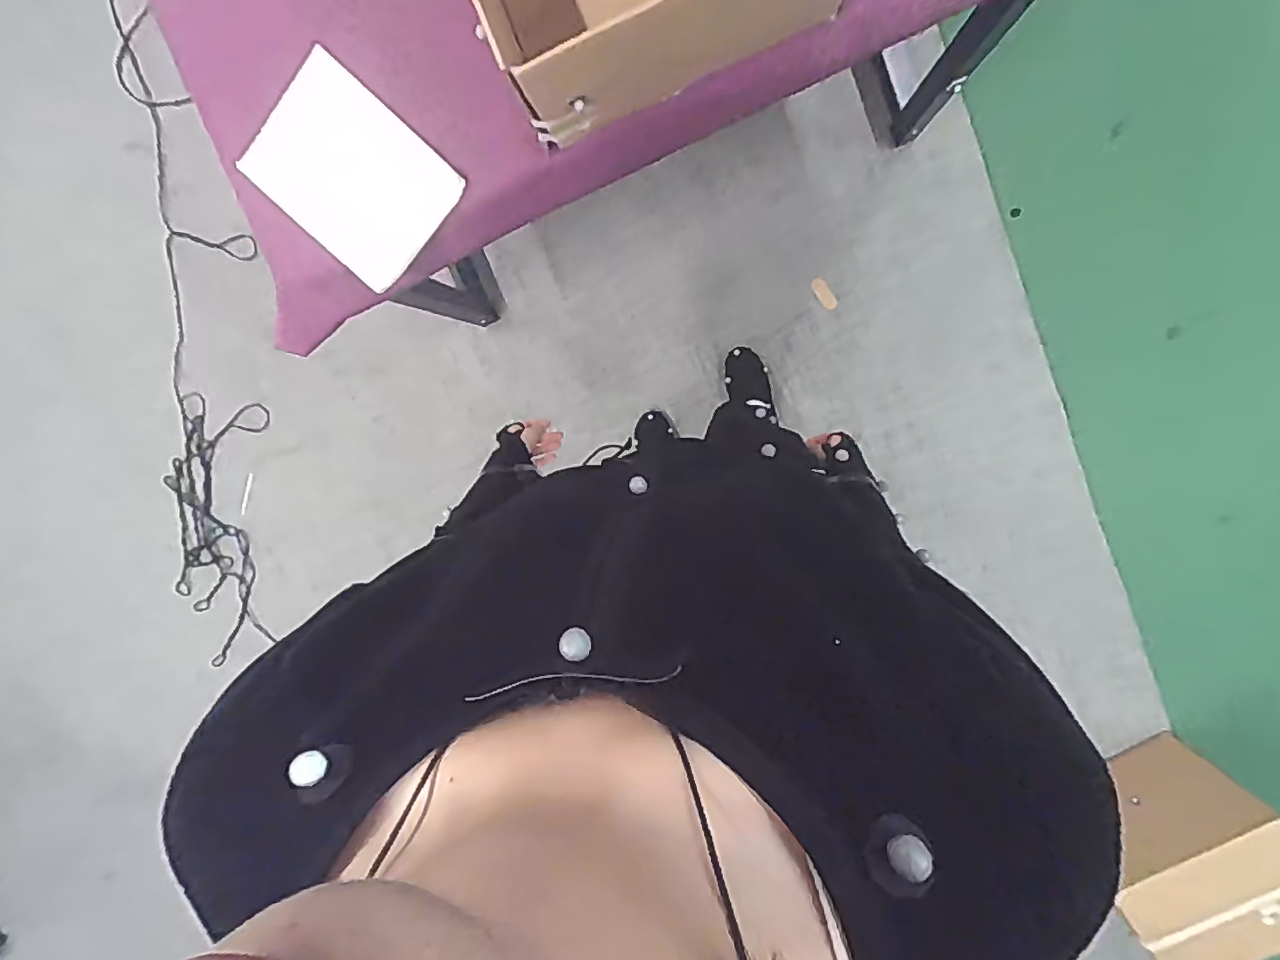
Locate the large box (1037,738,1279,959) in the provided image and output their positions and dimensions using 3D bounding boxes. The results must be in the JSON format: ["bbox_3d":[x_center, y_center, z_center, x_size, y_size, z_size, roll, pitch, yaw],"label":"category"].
[{"bbox_3d":[1.345,0.949,1.357,0.408,0.320,0.320,-36,94,9],"label":"large box"}]
